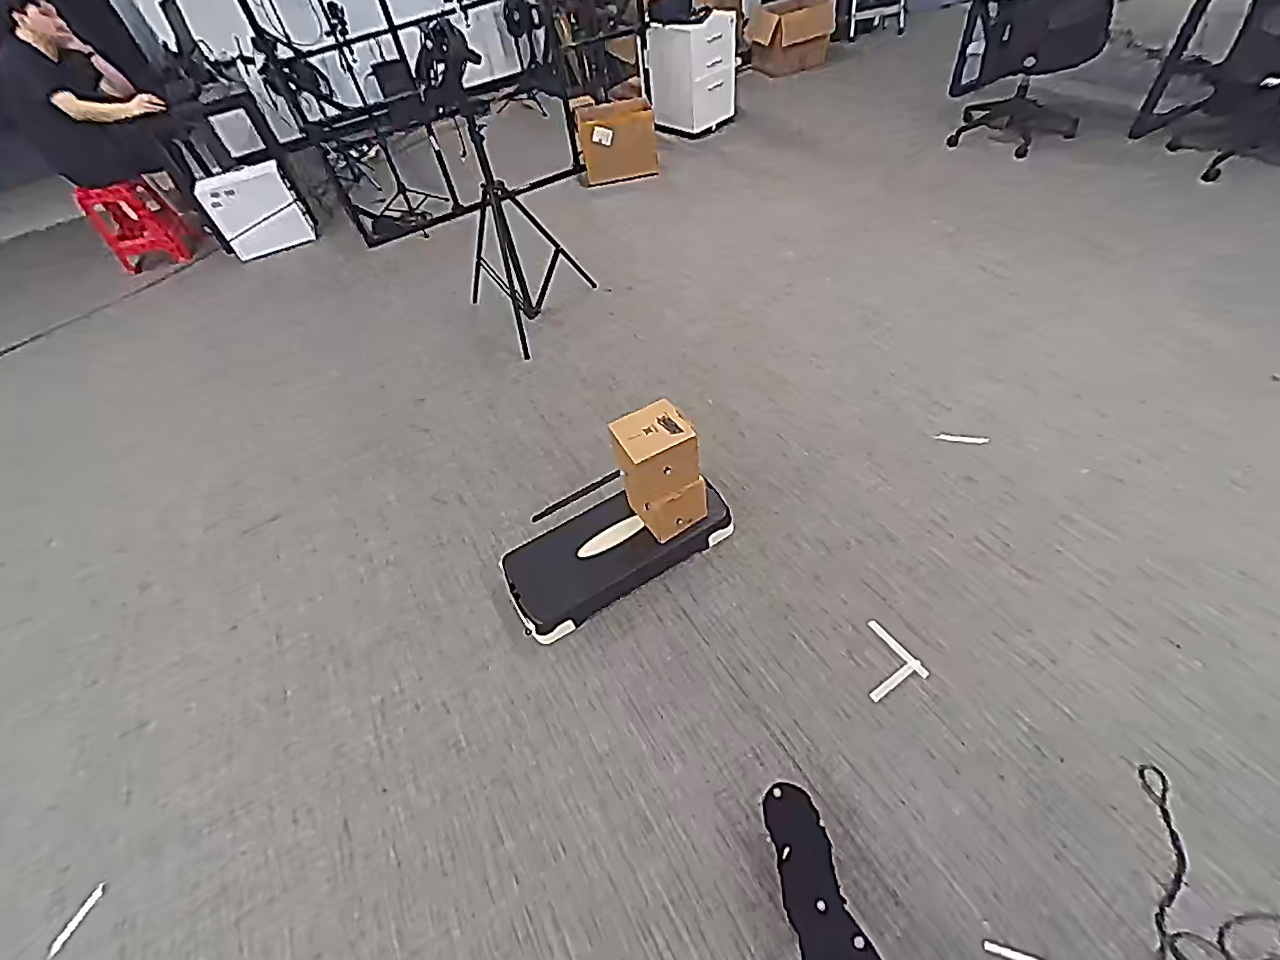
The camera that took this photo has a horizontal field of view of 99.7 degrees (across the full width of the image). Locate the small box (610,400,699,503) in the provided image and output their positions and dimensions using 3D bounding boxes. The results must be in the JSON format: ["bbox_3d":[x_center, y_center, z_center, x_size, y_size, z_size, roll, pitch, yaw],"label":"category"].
[{"bbox_3d":[0.041,-0.073,1.419,0.179,0.176,0.168,-26,52,-11],"label":"small box"}]

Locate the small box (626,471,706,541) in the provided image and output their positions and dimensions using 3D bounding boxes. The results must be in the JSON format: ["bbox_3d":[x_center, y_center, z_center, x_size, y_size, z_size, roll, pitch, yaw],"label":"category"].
[{"bbox_3d":[0.072,0.038,1.537,0.168,0.176,0.179,-30,53,-16],"label":"small box"}]
